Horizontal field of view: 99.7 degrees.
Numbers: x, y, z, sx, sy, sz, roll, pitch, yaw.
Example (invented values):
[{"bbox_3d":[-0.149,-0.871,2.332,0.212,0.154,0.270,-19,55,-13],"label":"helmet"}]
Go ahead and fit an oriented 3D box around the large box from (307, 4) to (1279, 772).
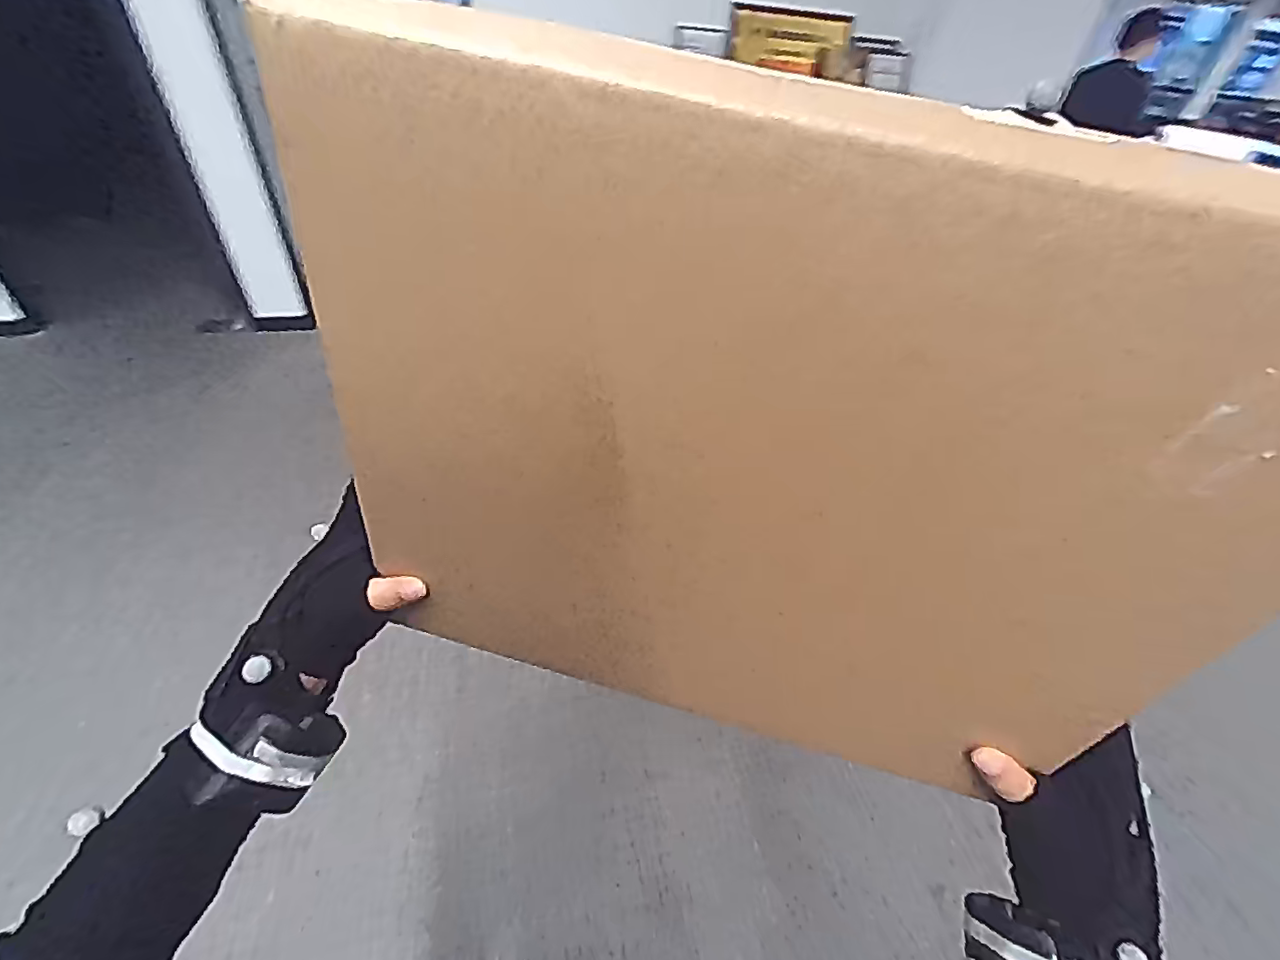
[{"bbox_3d":[0.085,-0.066,0.368,0.408,0.320,0.320,15,39,3],"label":"large box"}]
